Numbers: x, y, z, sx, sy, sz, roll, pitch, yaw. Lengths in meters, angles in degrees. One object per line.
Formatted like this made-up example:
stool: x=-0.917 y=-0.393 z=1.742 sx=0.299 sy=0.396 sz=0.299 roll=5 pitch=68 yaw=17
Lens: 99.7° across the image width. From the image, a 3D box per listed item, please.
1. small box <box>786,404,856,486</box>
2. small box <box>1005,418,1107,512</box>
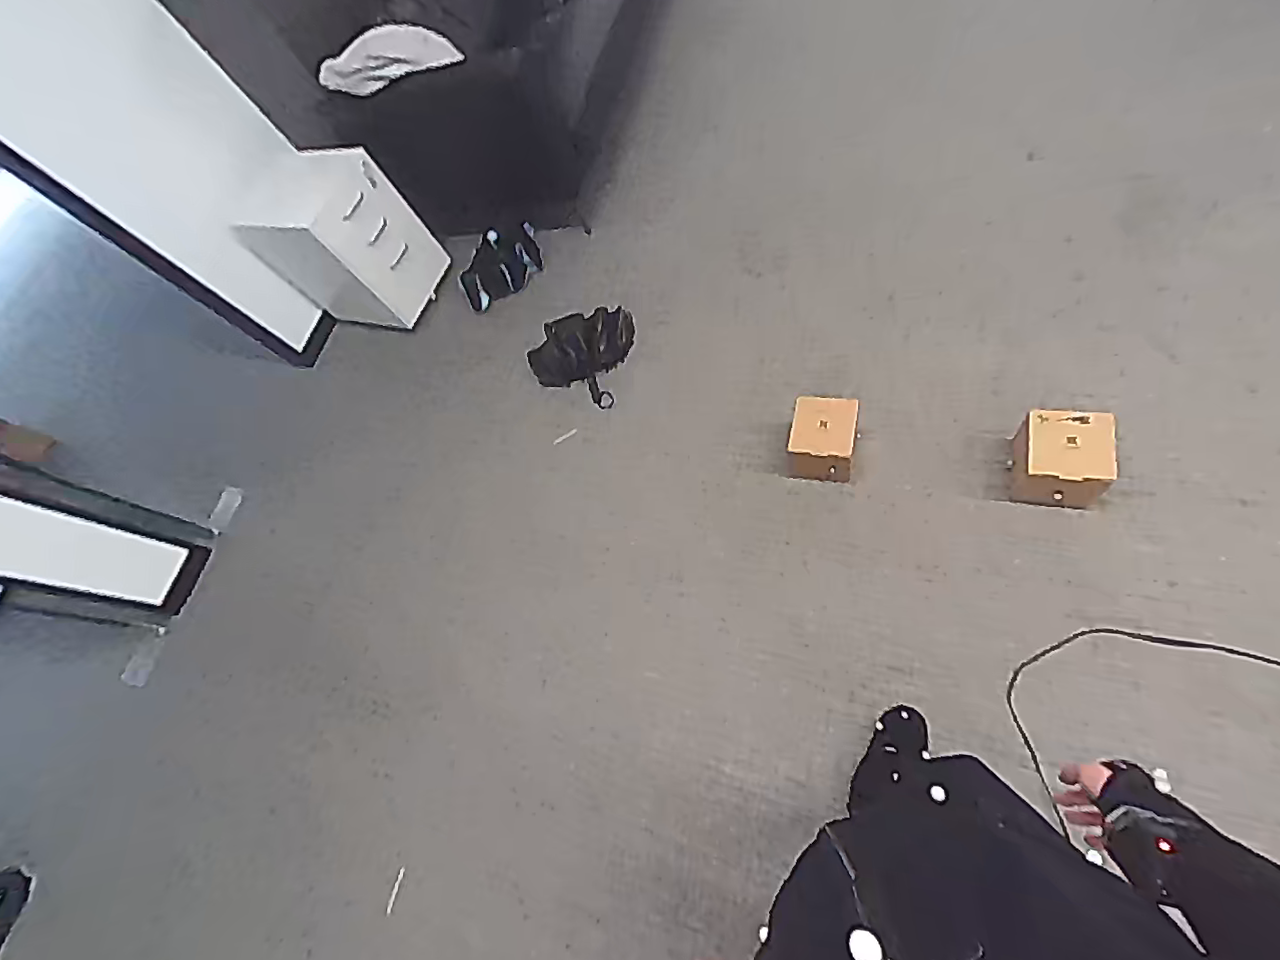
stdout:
small box: x=0.520 y=-0.096 z=1.549 sx=0.168 sy=0.176 sz=0.179 roll=7 pitch=66 yaw=22
small box: x=1.018 y=-0.033 z=1.333 sx=0.168 sy=0.176 sz=0.179 roll=7 pitch=69 yaw=24
